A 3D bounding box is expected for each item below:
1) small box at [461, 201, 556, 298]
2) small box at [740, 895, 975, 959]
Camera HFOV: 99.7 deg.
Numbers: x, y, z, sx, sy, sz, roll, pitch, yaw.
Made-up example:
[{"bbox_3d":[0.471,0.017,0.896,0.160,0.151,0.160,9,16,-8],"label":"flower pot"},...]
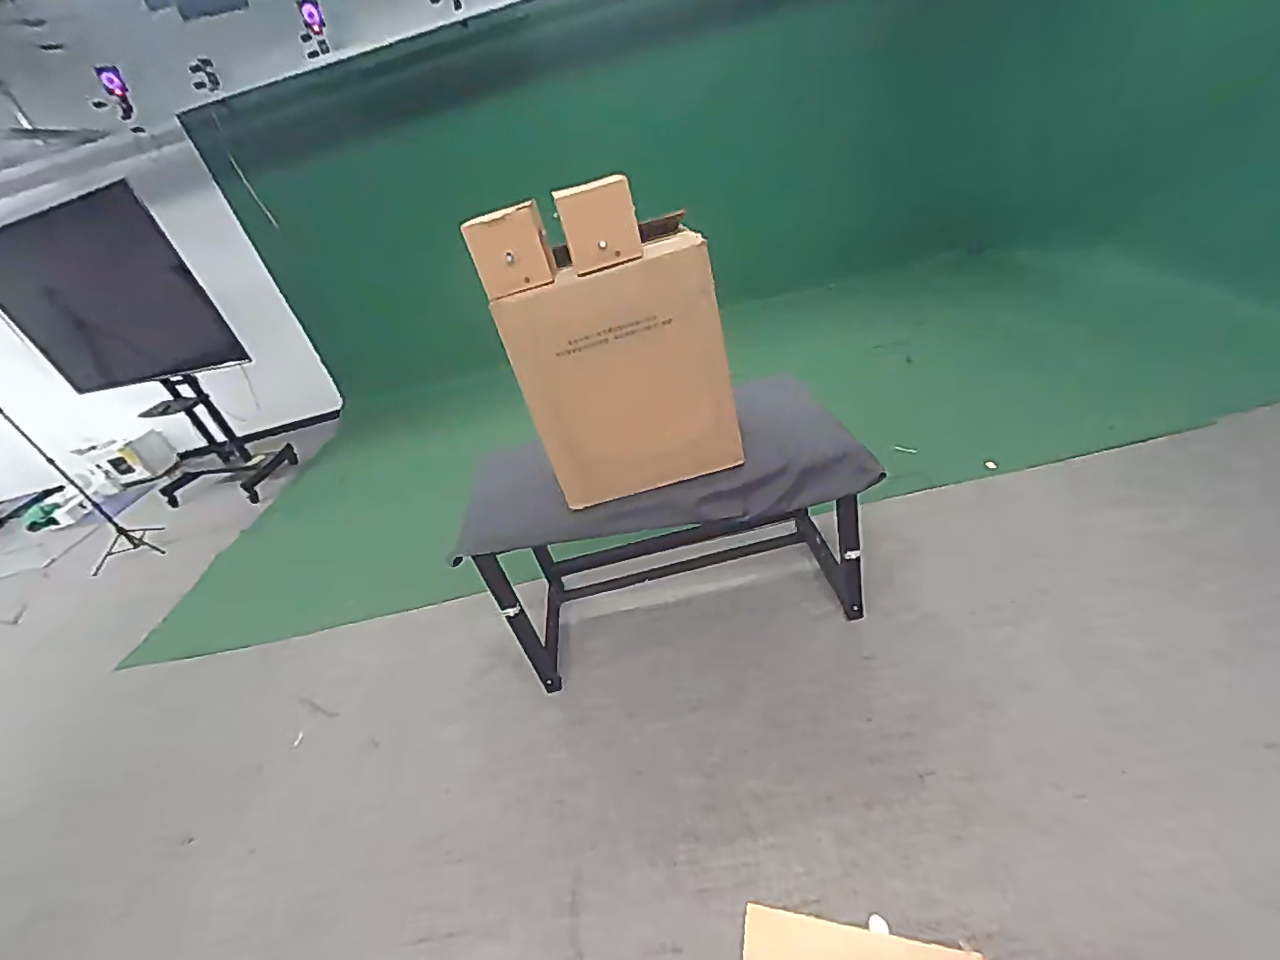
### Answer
[{"bbox_3d":[-0.311,-0.557,1.317,0.168,0.176,0.179,-15,32,4],"label":"small box"},{"bbox_3d":[0.169,0.451,0.410,0.168,0.176,0.179,-4,46,21],"label":"small box"}]
